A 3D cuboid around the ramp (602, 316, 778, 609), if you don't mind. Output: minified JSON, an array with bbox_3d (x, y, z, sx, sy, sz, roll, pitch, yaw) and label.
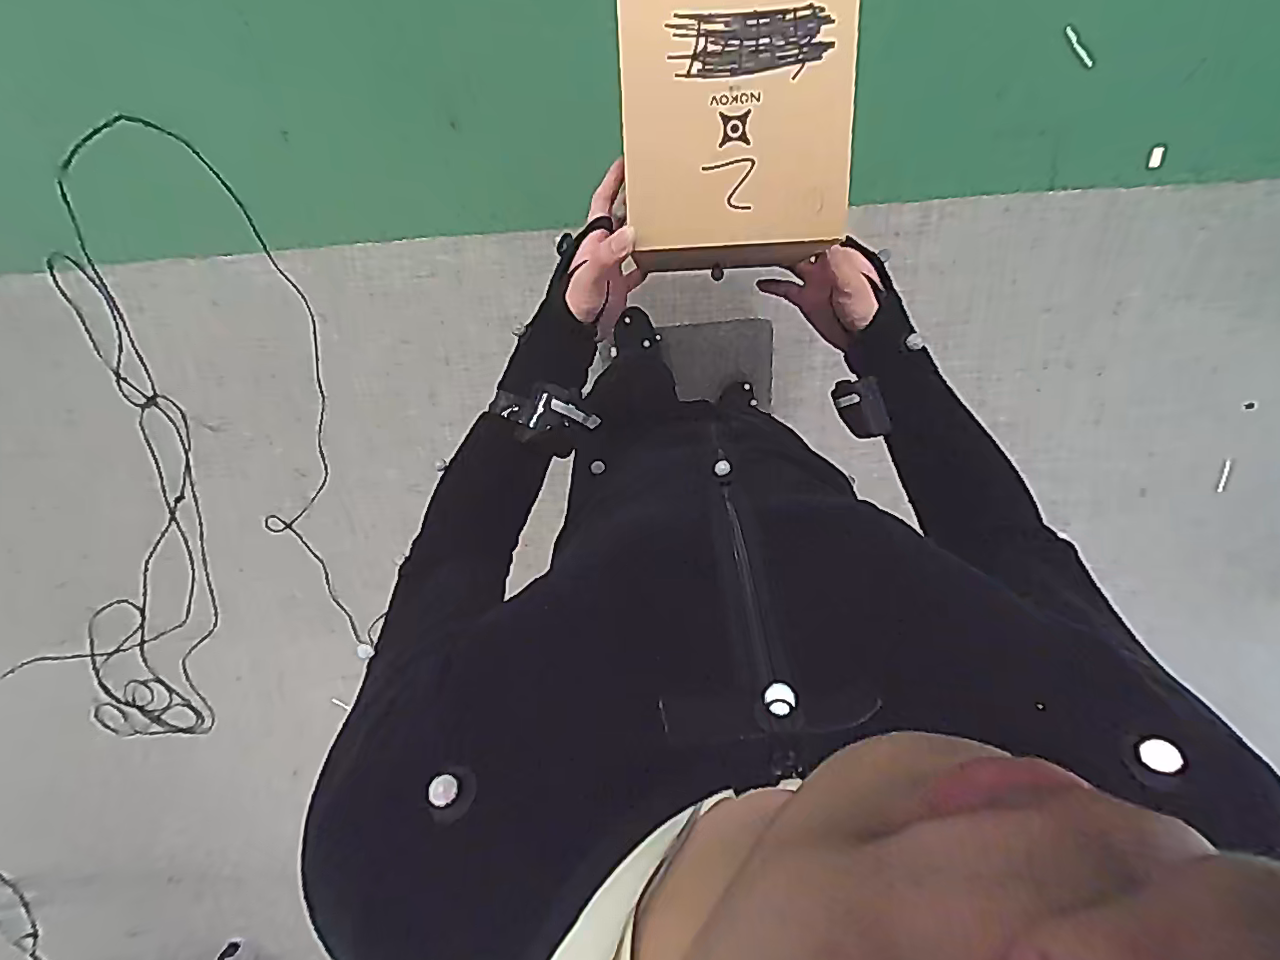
[{"bbox_3d":[0.181,0.008,1.712,0.509,0.206,0.991,-6,108,3],"label":"ramp"}]
